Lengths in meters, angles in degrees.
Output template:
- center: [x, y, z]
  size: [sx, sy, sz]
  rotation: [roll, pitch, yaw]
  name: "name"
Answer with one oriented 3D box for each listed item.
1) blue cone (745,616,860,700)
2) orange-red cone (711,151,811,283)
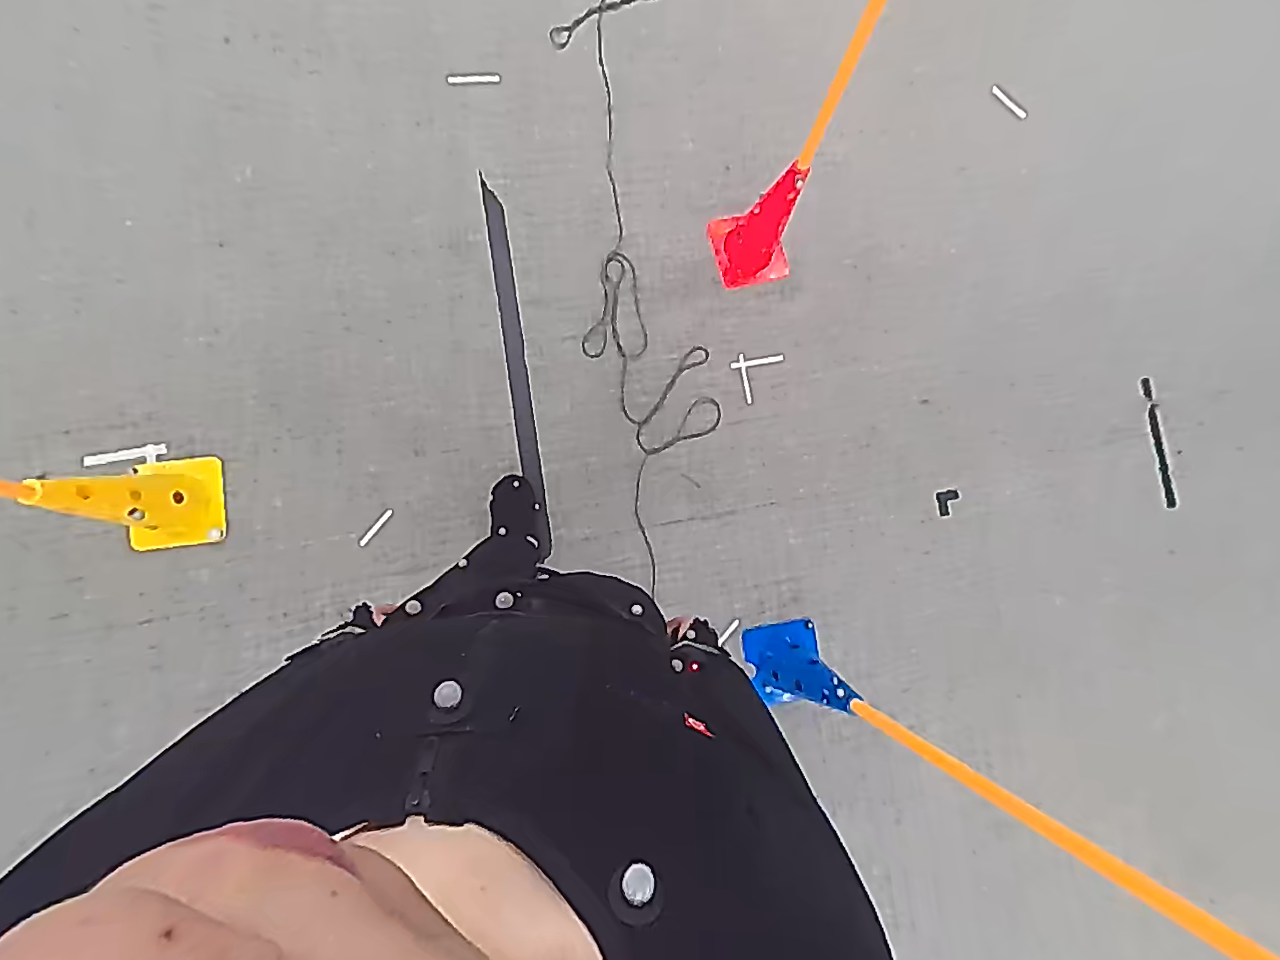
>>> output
- center: [0.393, 0.442, 1.237]
  size: [0.193, 0.380, 0.192]
  rotation: [-6, 85, -8]
  name: "blue cone"
- center: [0.327, -0.664, 1.323]
  size: [0.199, 0.360, 0.198]
  rotation: [-14, 86, -7]
  name: "orange-red cone"
